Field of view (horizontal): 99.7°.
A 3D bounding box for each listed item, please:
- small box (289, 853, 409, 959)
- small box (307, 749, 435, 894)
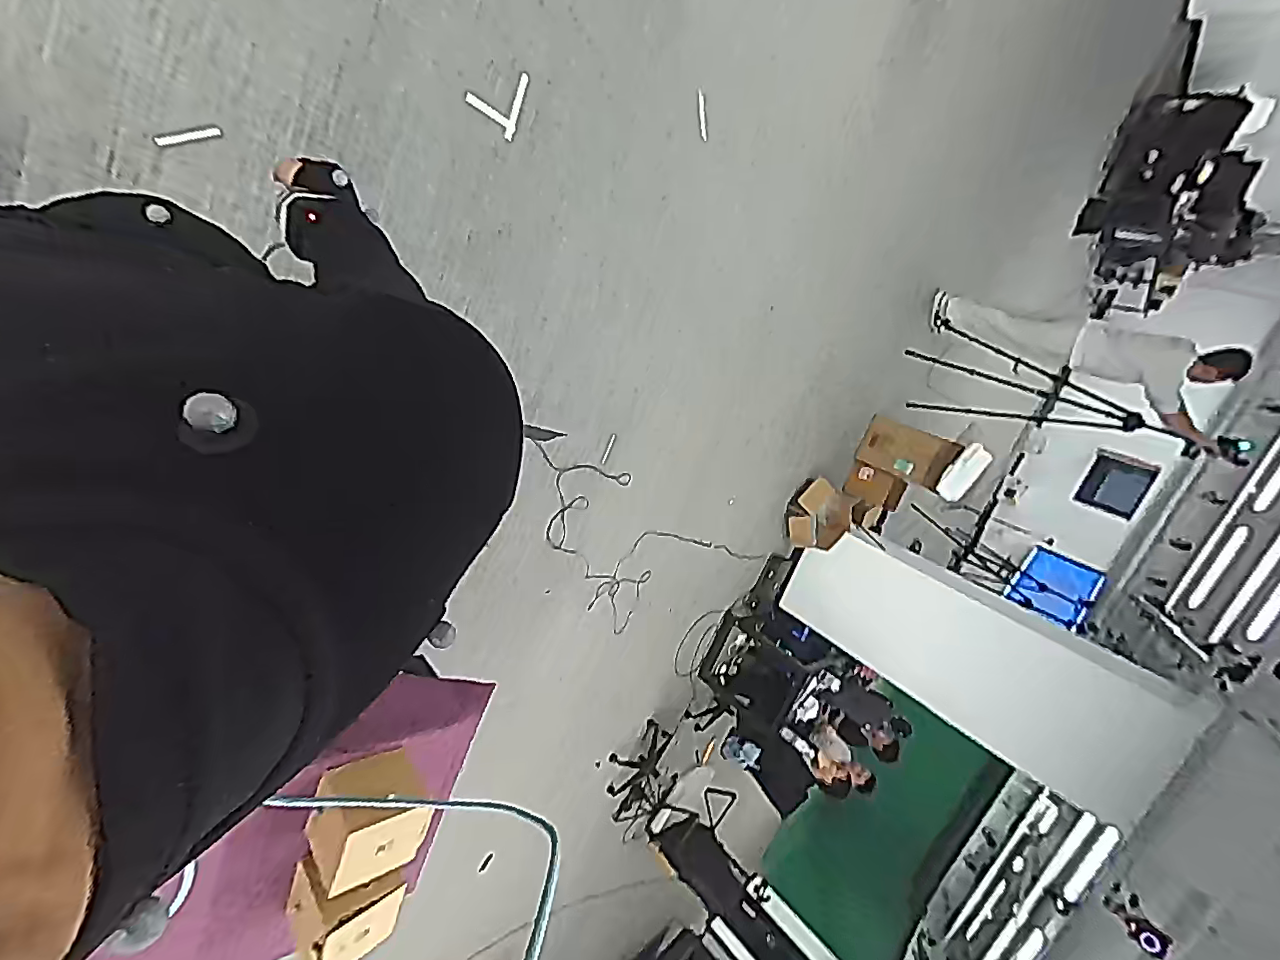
[{"bbox_3d":[-0.657,0.937,1.219,0.179,0.176,0.168,4,111,-50],"label":"small box"},{"bbox_3d":[-0.578,0.716,1.159,0.179,0.176,0.168,7,109,-50],"label":"small box"}]
